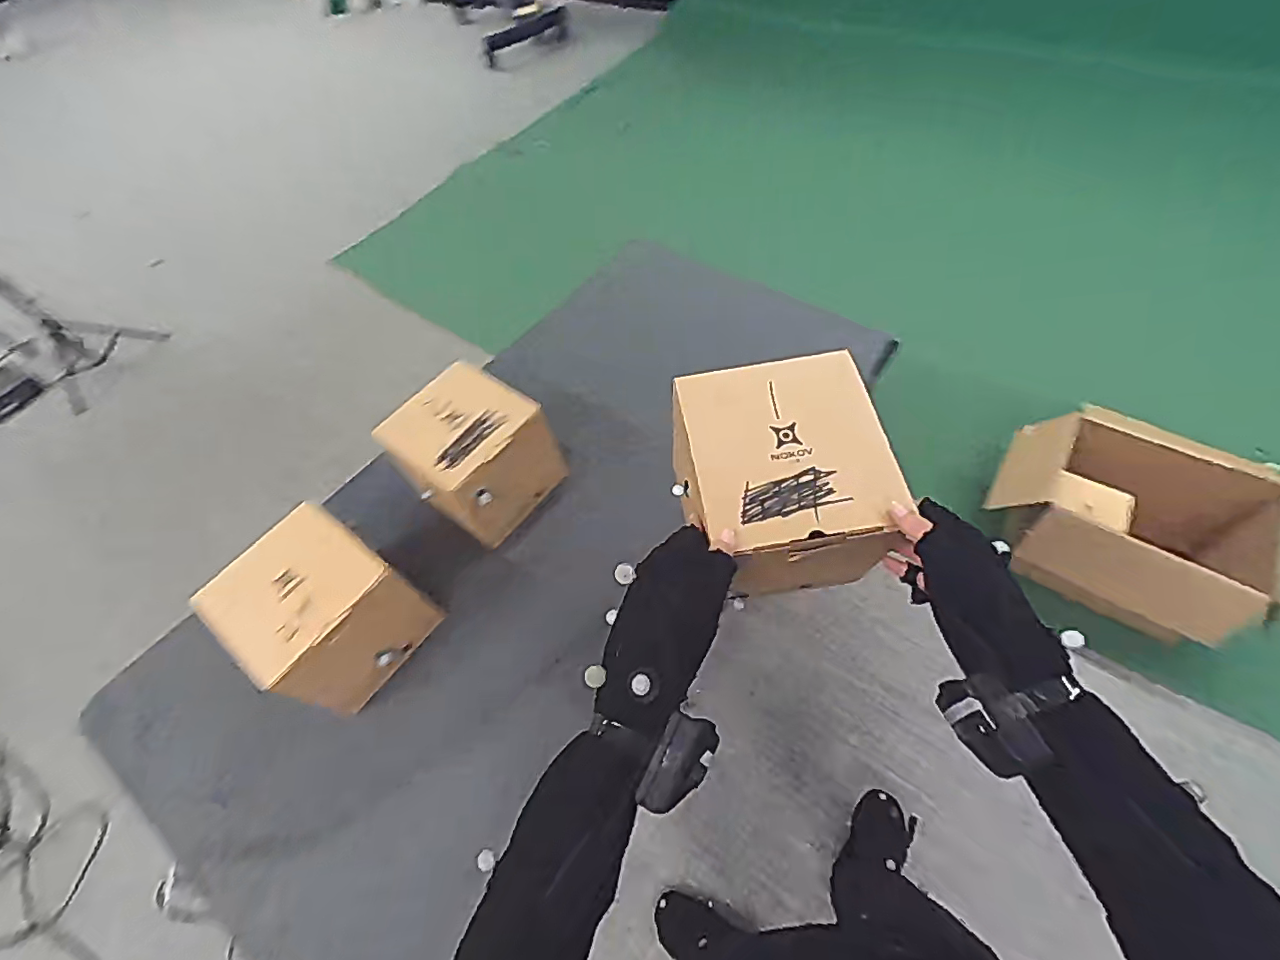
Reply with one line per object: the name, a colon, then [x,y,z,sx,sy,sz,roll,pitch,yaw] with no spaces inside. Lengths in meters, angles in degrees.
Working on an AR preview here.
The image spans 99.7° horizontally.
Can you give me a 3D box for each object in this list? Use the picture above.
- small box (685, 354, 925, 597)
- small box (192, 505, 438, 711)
small box: [0.137,0.007,0.527,0.168,0.176,0.179,-8,62,-1]
small box: [-0.401,0.170,0.695,0.179,0.176,0.168,31,66,23]
